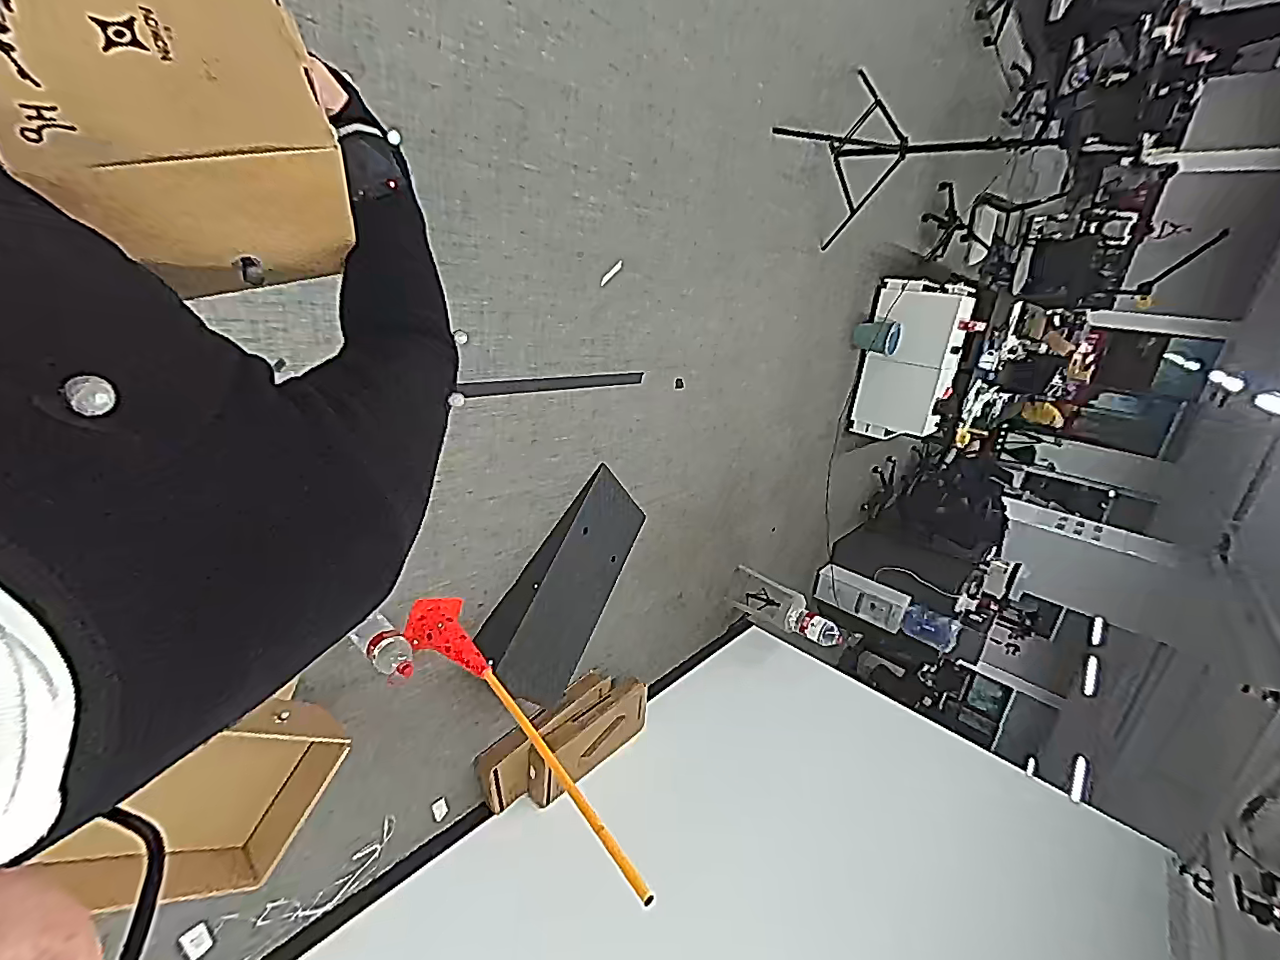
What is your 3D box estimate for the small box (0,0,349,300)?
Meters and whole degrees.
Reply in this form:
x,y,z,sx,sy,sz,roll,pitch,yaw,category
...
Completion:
x,y,z,sx,sy,sz,roll,pitch,yaw,category
-0.347,-0.266,0.423,0.179,0.176,0.168,-22,88,-25,small box
